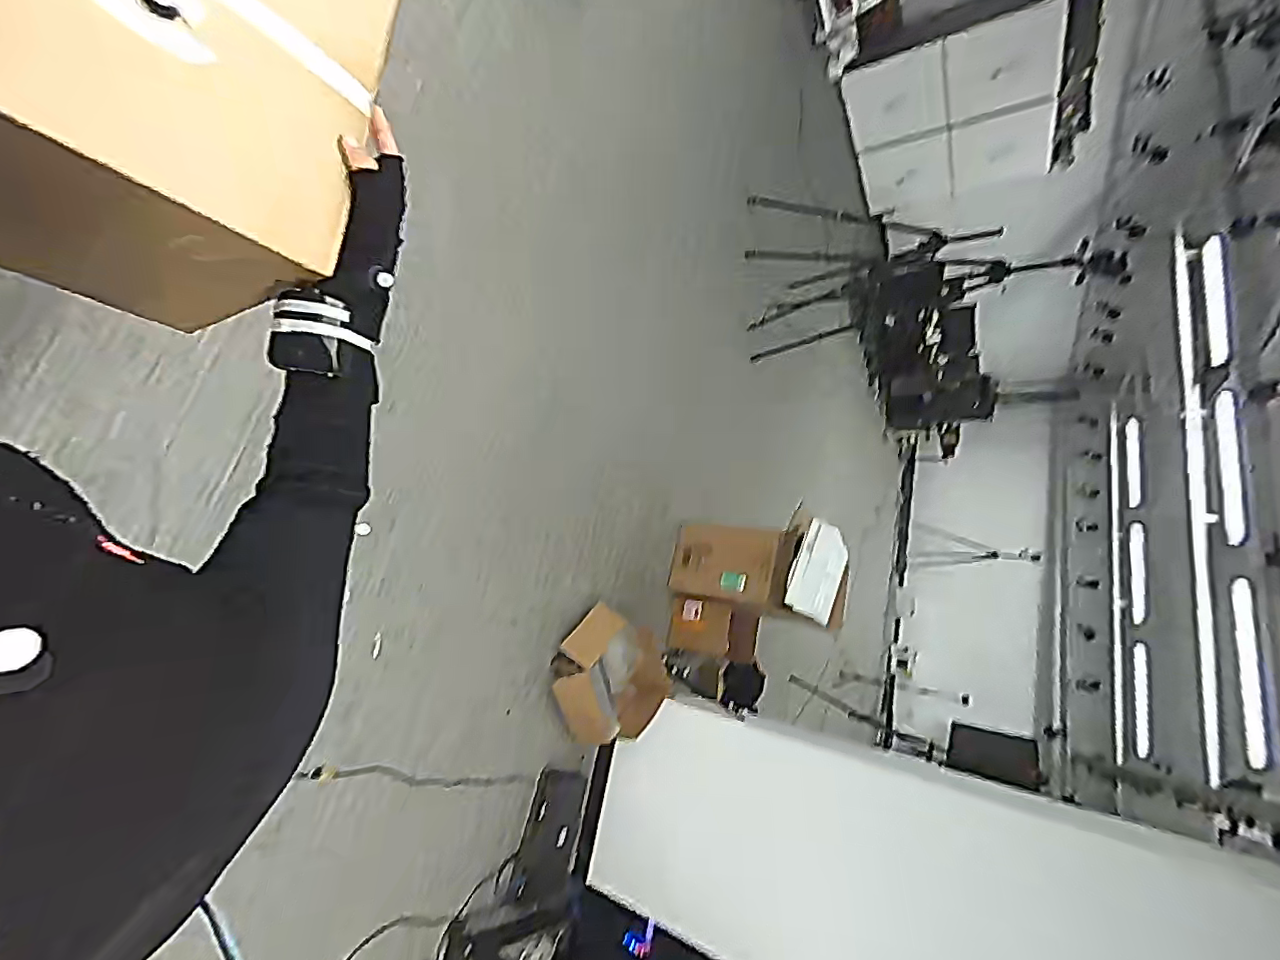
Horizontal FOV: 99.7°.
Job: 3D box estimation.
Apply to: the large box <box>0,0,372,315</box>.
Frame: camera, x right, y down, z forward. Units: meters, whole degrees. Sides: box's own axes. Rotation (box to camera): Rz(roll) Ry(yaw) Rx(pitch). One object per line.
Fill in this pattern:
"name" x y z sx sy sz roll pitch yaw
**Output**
"large box" -0.483 -0.366 0.390 0.408 0.320 0.320 19 75 -55
